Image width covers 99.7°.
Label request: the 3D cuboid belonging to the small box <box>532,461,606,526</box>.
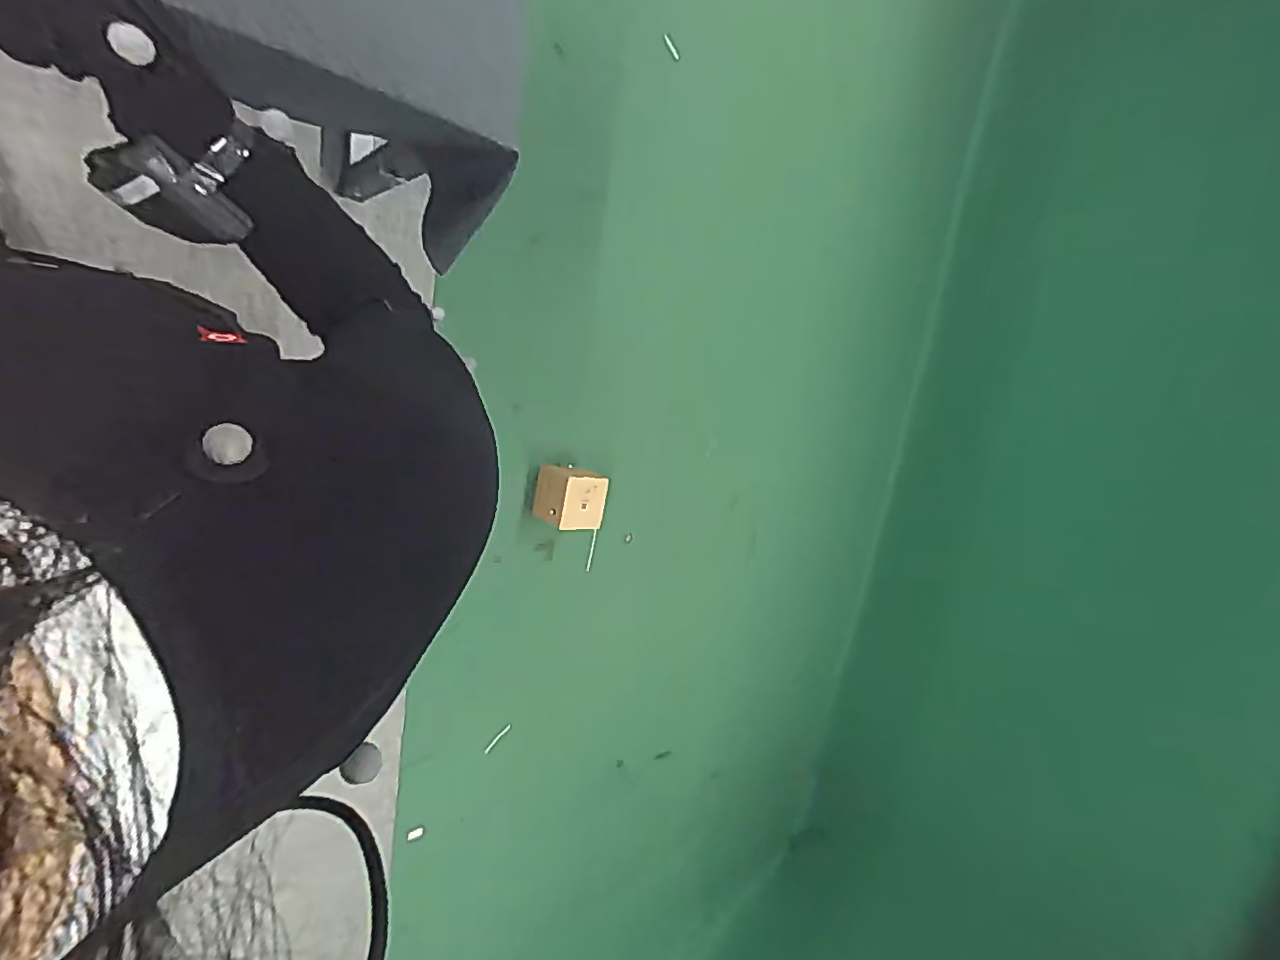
[{"bbox_3d":[-0.238,0.045,1.789,0.168,0.176,0.179,3,102,-44],"label":"small box"}]
